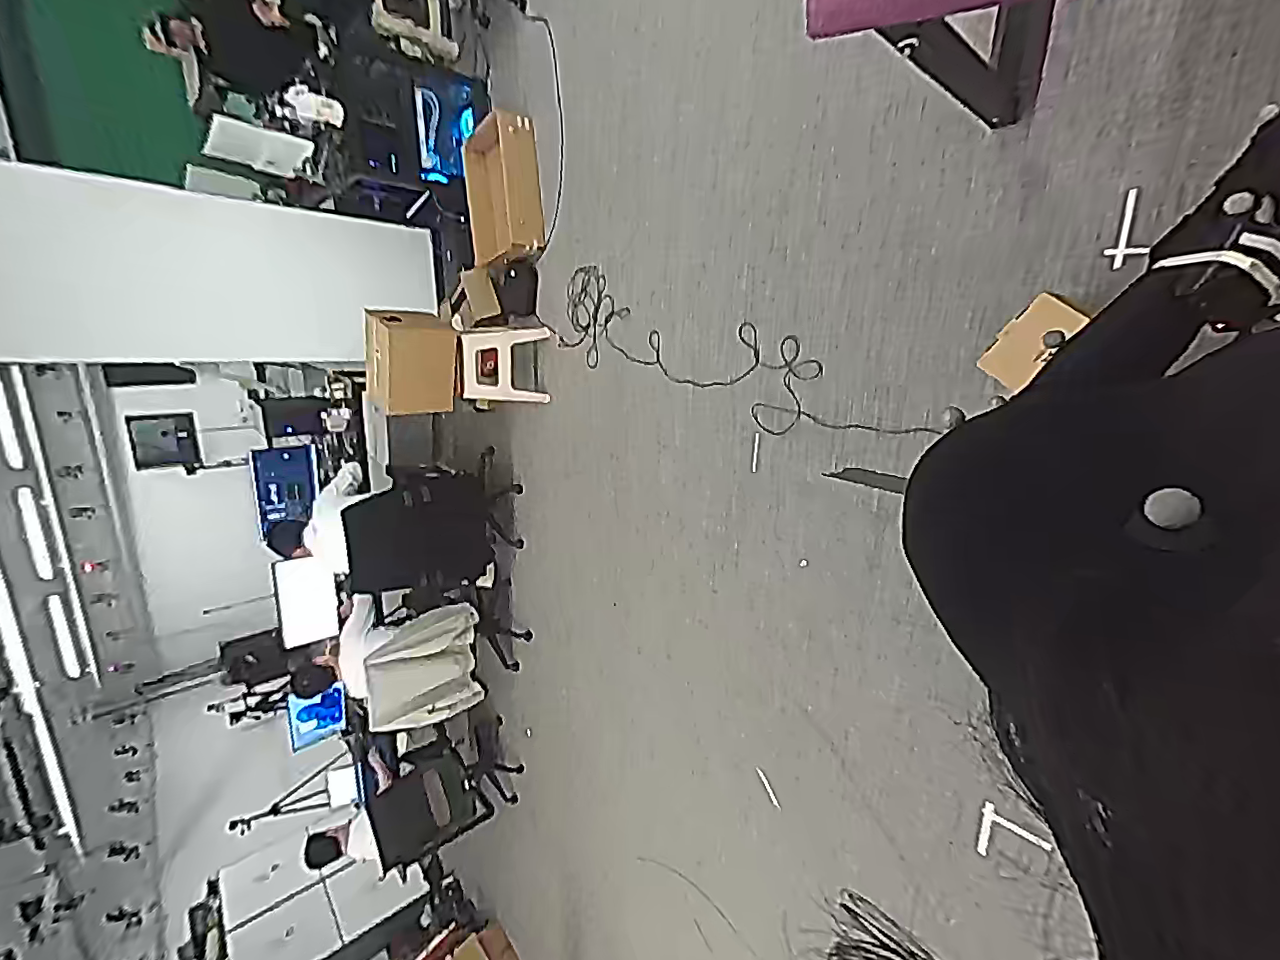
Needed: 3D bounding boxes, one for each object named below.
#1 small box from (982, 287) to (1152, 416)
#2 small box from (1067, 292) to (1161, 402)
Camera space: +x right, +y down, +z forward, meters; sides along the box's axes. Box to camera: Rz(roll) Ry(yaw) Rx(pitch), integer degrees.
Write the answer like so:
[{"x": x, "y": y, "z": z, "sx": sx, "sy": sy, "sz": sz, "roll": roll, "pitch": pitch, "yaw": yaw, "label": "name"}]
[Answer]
[{"x": 0.805, "y": -0.241, "z": 1.023, "sx": 0.179, "sy": 0.176, "sz": 0.168, "roll": 52, "pitch": 134, "yaw": 28, "label": "small box"}, {"x": 0.926, "y": -0.271, "z": 1.130, "sx": 0.179, "sy": 0.176, "sz": 0.168, "roll": 50, "pitch": 133, "yaw": 29, "label": "small box"}]
